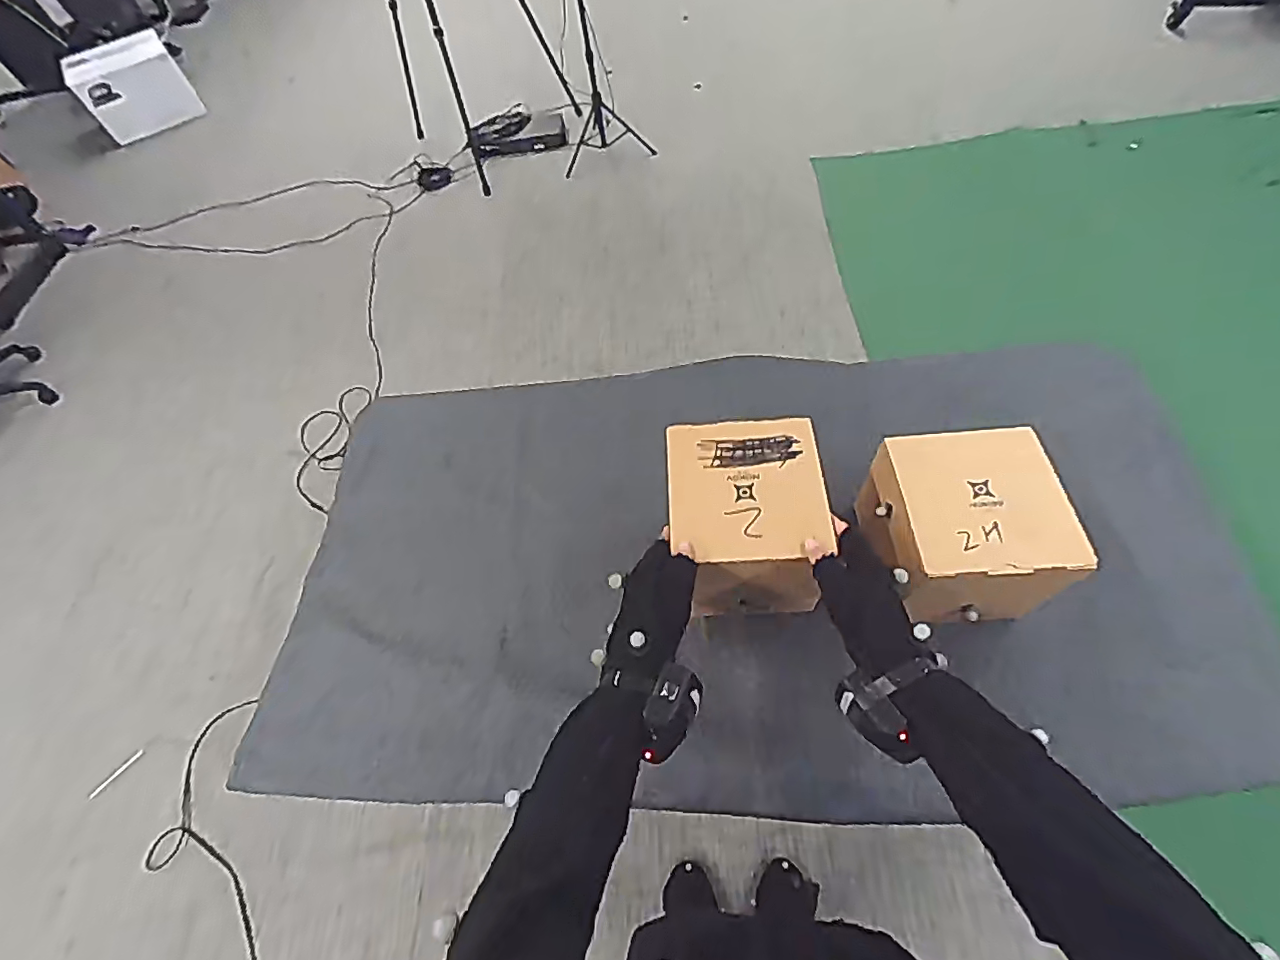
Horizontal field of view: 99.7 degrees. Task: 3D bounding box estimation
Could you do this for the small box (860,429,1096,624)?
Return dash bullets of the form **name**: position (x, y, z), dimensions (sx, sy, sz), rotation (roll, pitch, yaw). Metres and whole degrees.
- **small box**: position (0.380, 0.061, 0.653), dimensions (0.168, 0.176, 0.179), rotation (-5, 58, 7)
